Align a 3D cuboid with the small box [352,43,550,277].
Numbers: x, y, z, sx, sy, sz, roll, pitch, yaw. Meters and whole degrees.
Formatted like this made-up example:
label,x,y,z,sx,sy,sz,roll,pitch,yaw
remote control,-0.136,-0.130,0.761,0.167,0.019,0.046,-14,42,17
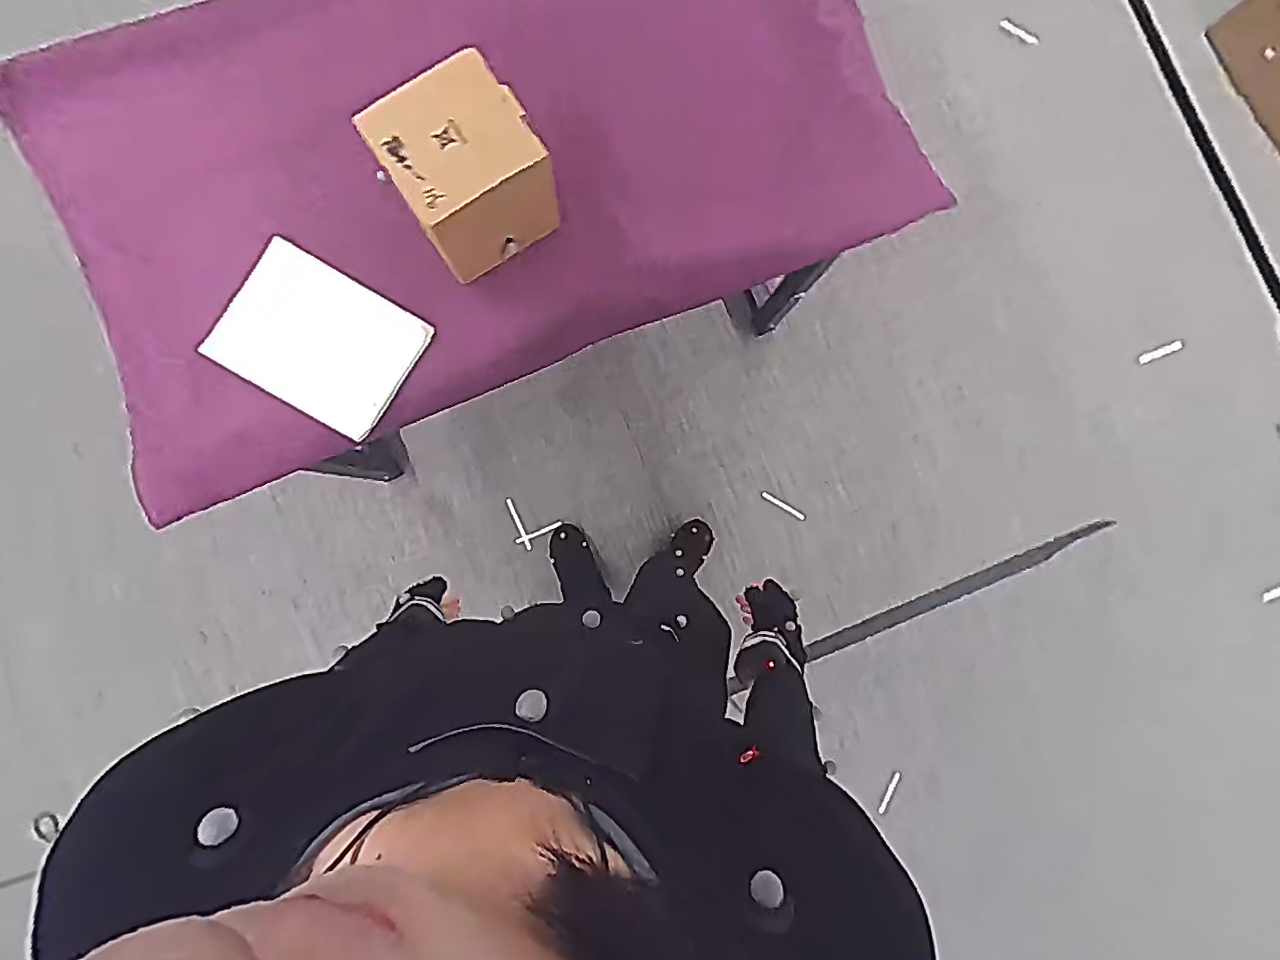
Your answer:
label,x,y,z,sx,sy,sz,roll,pitch,yaw
small box,-0.234,-0.413,0.727,0.179,0.176,0.168,-34,88,-6
